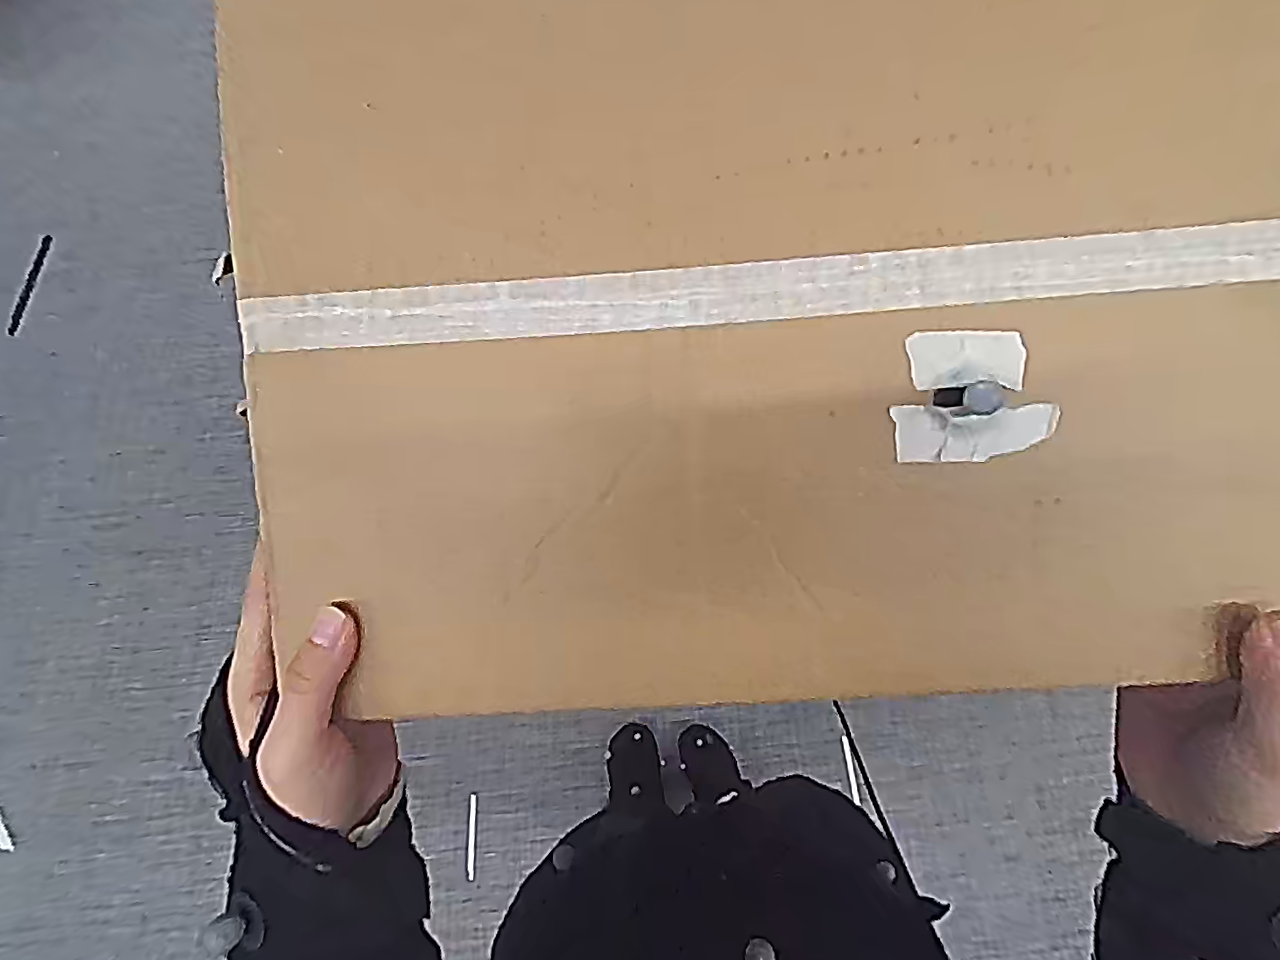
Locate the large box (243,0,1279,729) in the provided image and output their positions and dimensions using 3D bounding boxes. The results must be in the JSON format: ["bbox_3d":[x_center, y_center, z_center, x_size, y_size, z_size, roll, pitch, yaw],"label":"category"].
[{"bbox_3d":[0.052,-0.070,0.362,0.408,0.320,0.320,-4,92,1],"label":"large box"}]
